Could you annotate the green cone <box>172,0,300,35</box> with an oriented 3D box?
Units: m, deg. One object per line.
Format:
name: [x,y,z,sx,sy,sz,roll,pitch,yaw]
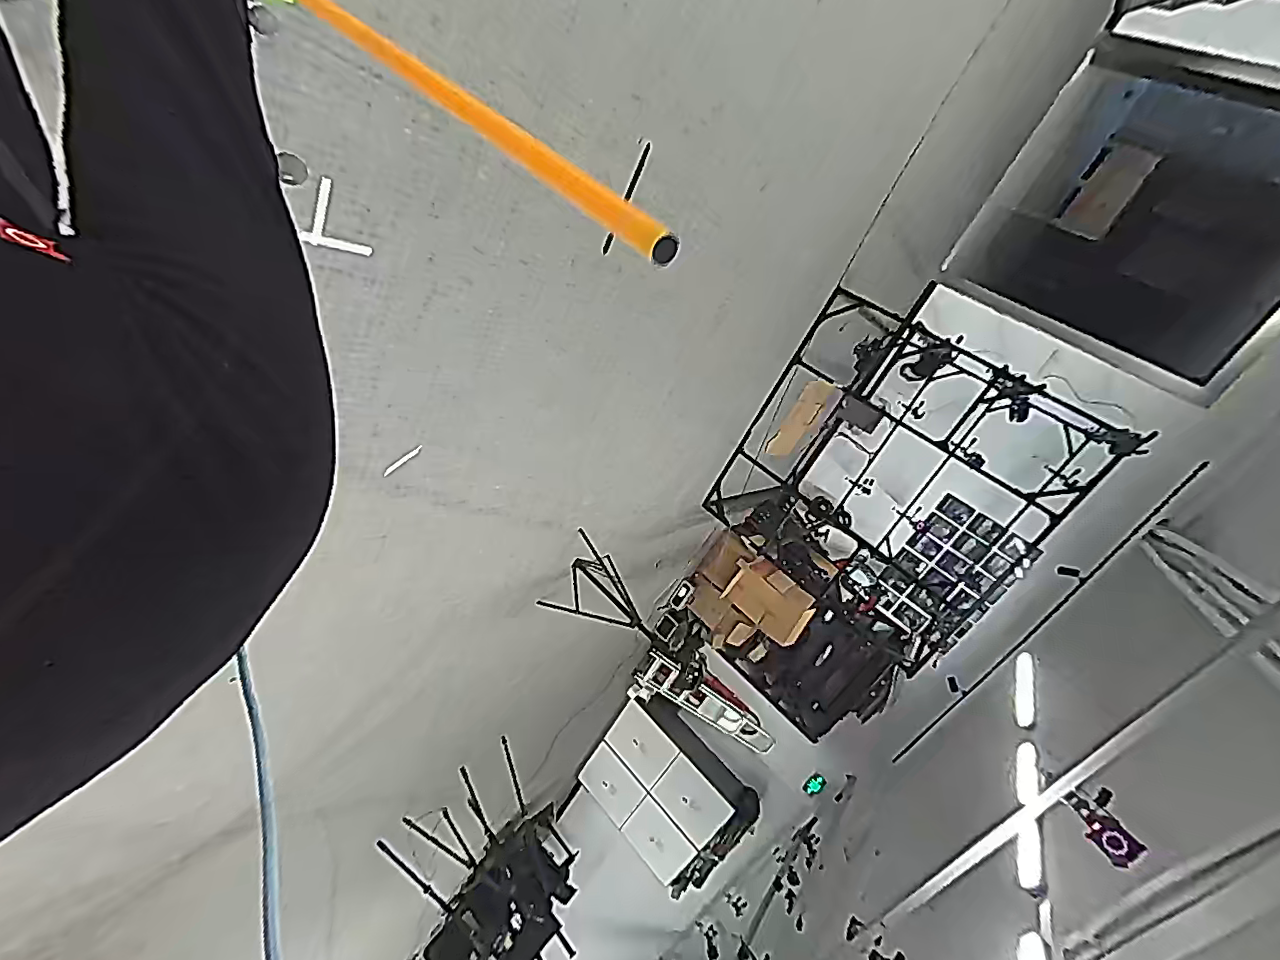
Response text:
green cone: [-0.642,-0.817,0.851,0.202,0.368,0.200,-4,129,-59]
